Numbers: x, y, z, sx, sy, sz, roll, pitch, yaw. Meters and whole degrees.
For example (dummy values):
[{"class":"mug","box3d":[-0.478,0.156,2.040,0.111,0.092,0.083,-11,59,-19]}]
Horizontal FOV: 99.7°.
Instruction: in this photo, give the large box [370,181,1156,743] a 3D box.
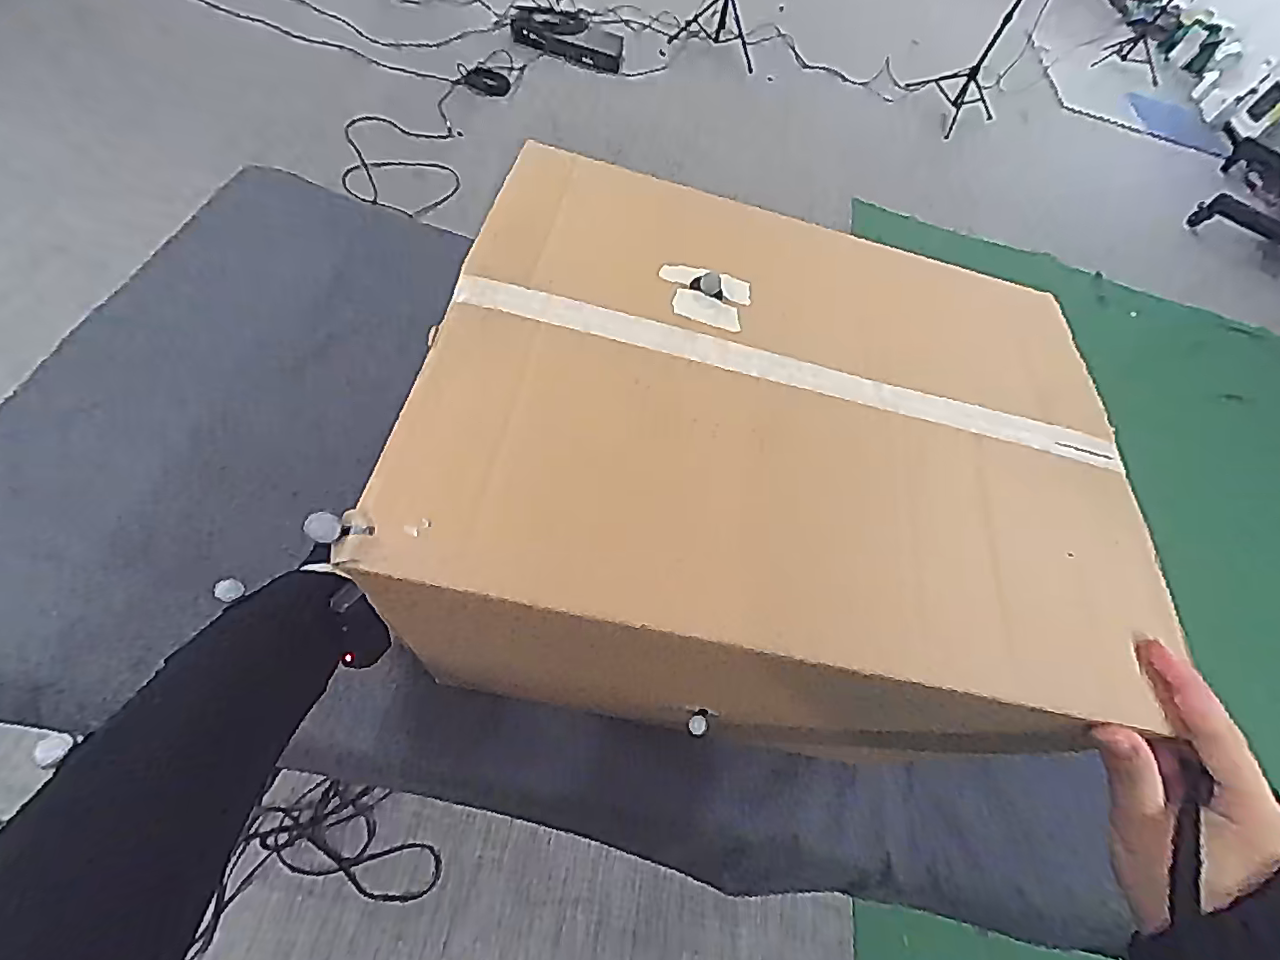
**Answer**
[{"class":"large box","box3d":[0.068,0.025,0.458,0.408,0.320,0.320,12,59,-5]}]
